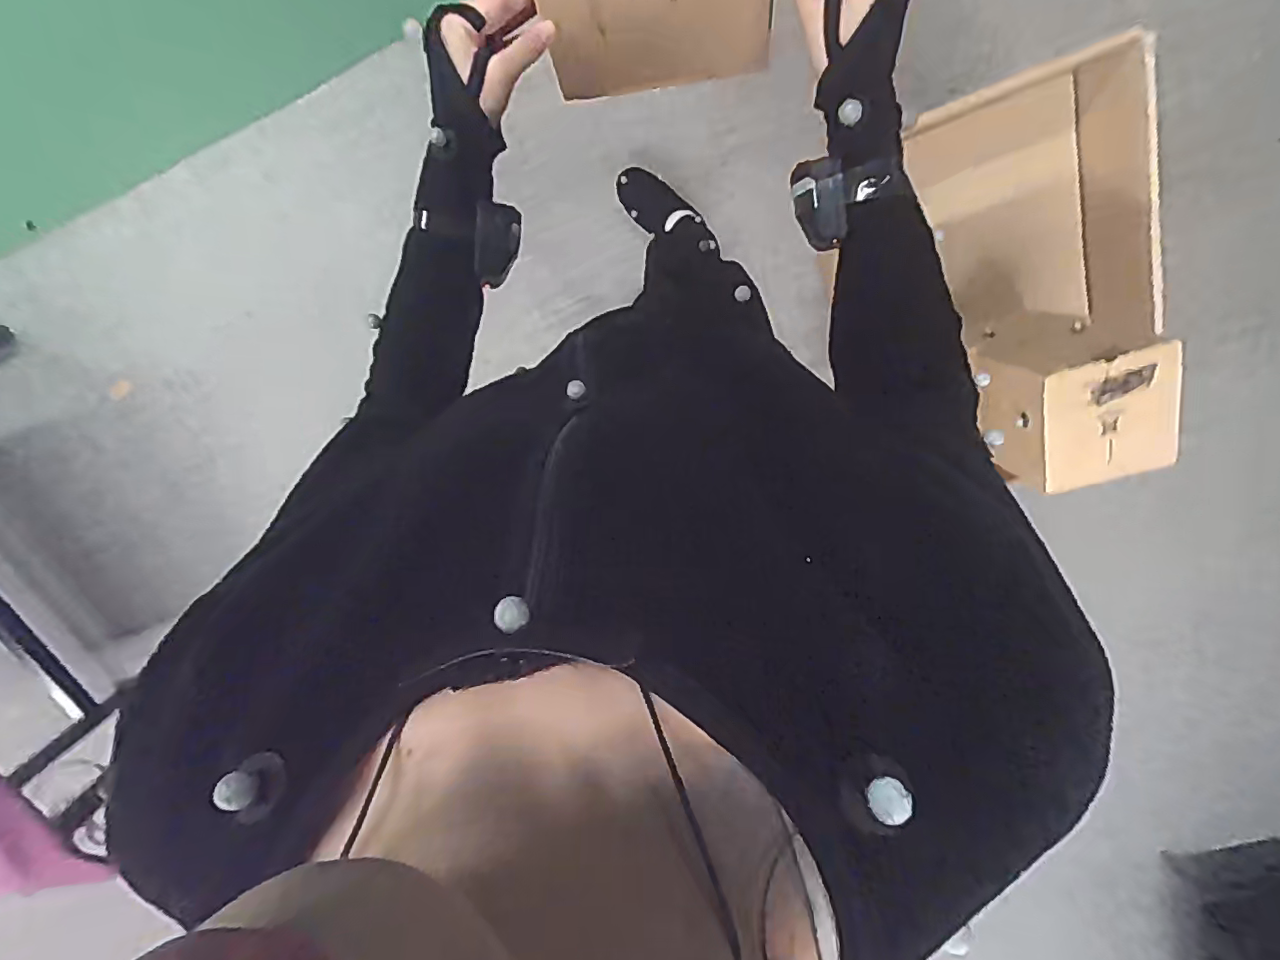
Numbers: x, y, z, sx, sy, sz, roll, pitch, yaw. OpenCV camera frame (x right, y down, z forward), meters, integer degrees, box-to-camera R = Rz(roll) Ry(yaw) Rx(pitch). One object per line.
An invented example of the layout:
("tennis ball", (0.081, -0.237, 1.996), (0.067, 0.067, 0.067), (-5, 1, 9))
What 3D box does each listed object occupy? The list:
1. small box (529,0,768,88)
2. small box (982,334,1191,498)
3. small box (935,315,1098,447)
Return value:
("small box", (0.000, -0.437, 0.392), (0.179, 0.168, 0.176), (-3, 72, 8))
("small box", (0.615, -0.100, 0.767), (0.168, 0.176, 0.179), (-15, 110, 9))
("small box", (0.621, -0.173, 0.914), (0.179, 0.176, 0.168), (-13, 110, 8))
